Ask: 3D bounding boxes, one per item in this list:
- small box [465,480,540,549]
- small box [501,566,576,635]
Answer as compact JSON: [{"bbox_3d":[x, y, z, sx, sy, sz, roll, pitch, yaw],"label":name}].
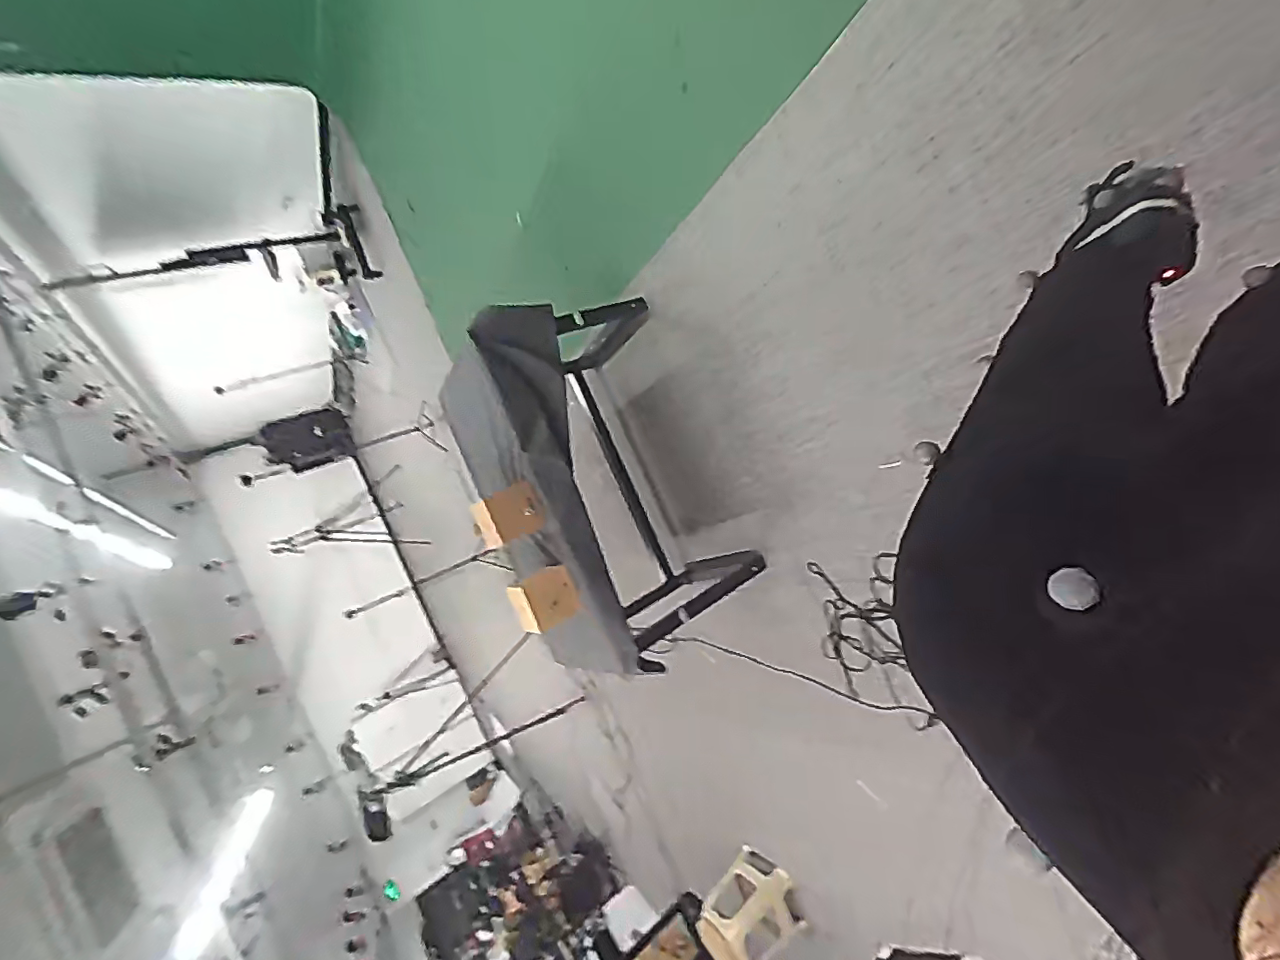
[{"bbox_3d":[-0.453,0.116,1.789,0.179,0.176,0.168,-22,93,57],"label":"small box"},{"bbox_3d":[-0.335,0.397,1.800,0.179,0.176,0.168,-21,93,59],"label":"small box"}]
